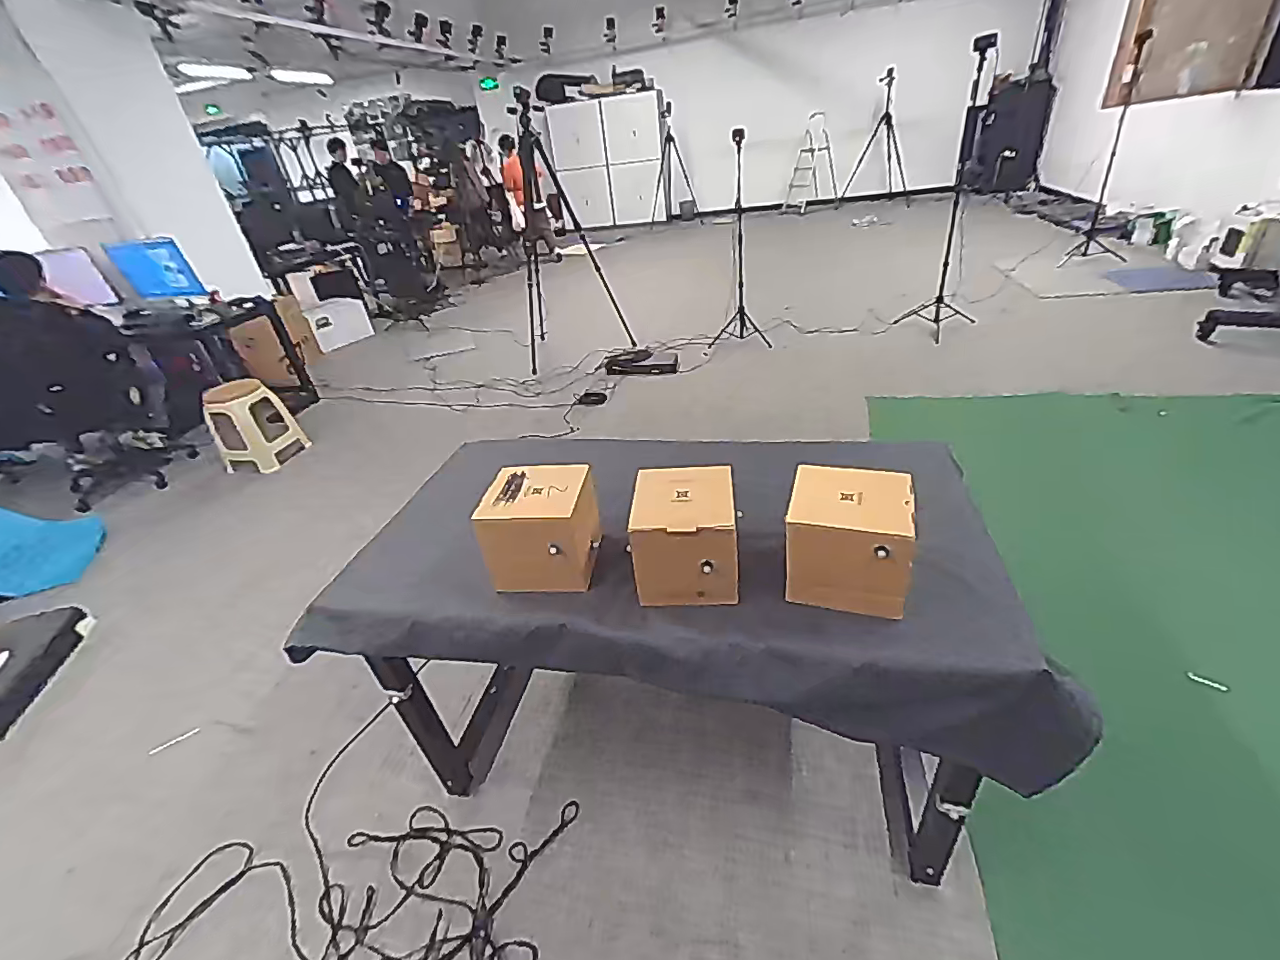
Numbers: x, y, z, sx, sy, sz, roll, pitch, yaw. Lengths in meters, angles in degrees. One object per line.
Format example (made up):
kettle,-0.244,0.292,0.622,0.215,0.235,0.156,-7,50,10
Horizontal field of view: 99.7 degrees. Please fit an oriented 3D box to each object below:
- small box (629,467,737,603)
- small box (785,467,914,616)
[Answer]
small box,0.079,0.096,0.930,0.168,0.176,0.179,-2,32,7
small box,0.333,0.096,0.875,0.179,0.176,0.168,6,35,20
